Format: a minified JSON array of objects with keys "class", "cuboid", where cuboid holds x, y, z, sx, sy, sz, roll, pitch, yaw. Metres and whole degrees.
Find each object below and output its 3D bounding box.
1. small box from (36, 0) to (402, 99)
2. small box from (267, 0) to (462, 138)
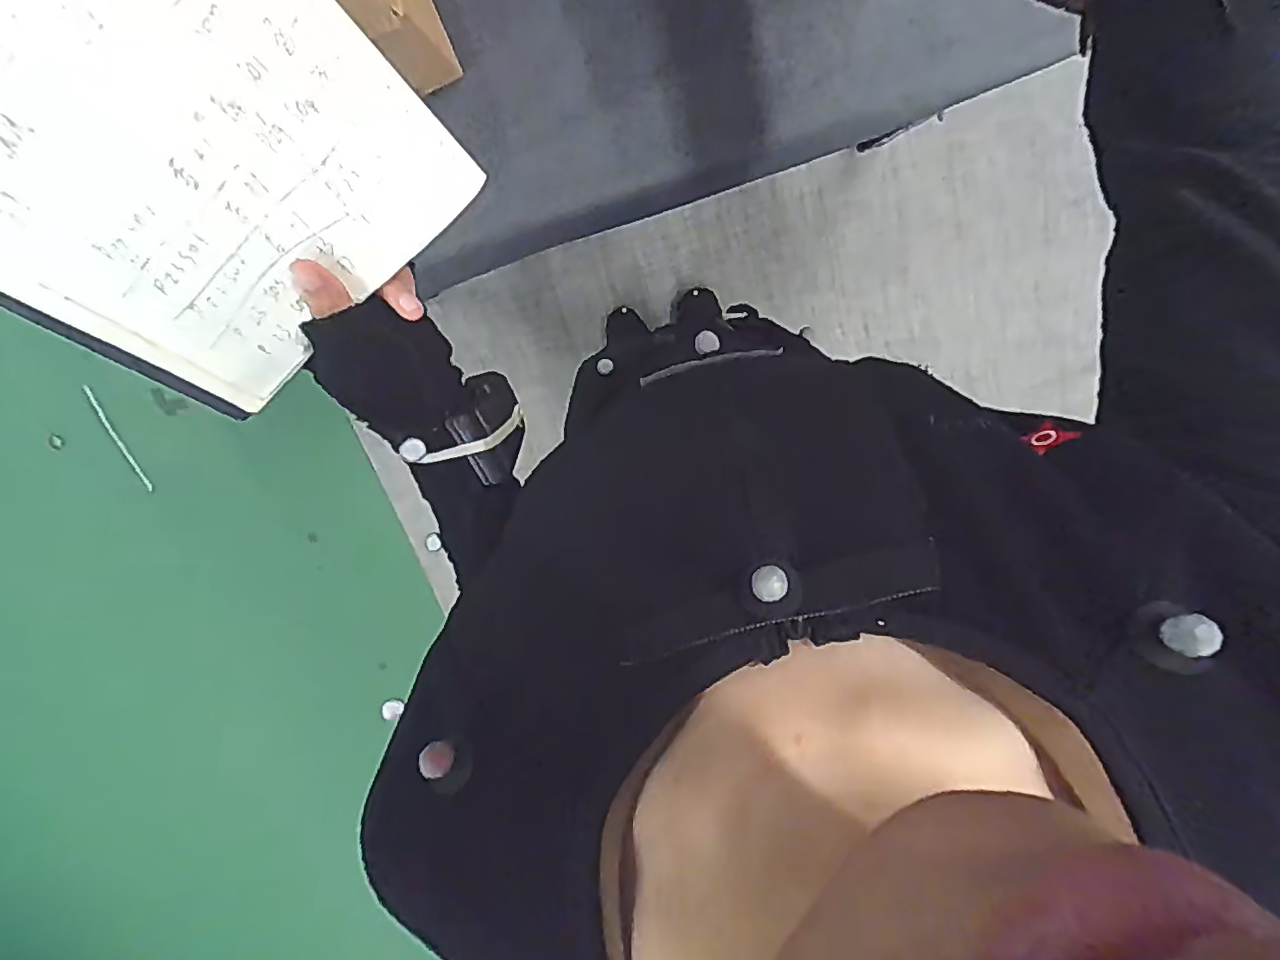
[{"class":"small box","cuboid":[-0.292,-0.393,0.347,0.168,0.176,0.179,-19,109,8]},{"class":"small box","cuboid":[-0.294,-0.457,0.497,0.168,0.176,0.179,-20,109,8]}]
